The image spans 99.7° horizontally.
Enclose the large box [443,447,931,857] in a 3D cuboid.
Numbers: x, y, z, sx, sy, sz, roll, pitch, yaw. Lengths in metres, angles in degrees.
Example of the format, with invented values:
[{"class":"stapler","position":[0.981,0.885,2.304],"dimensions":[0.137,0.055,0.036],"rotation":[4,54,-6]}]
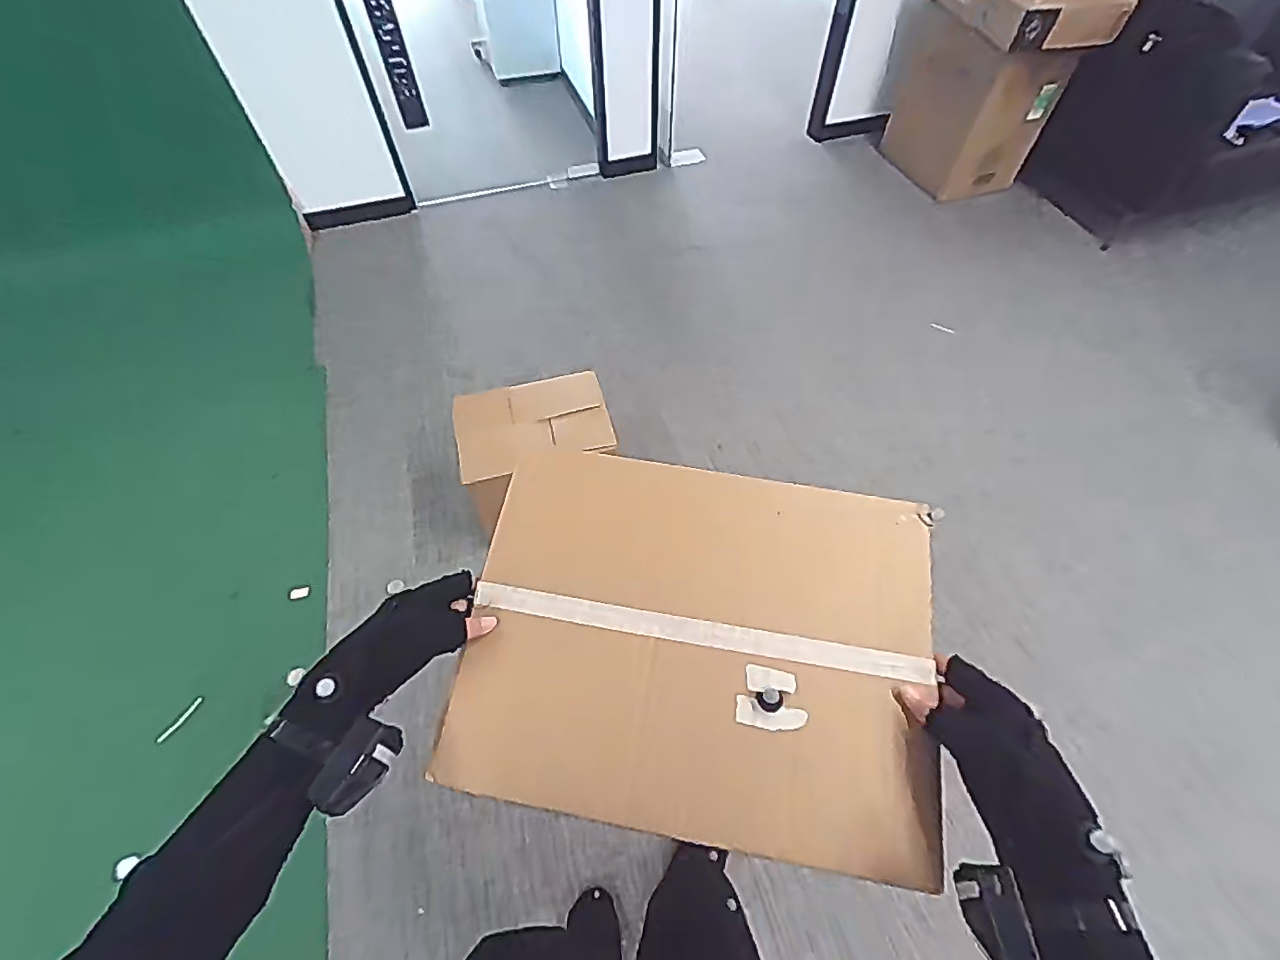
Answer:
[{"class":"large box","position":[0.053,0.190,0.626],"dimensions":[0.408,0.320,0.320],"rotation":[9,67,4]}]
